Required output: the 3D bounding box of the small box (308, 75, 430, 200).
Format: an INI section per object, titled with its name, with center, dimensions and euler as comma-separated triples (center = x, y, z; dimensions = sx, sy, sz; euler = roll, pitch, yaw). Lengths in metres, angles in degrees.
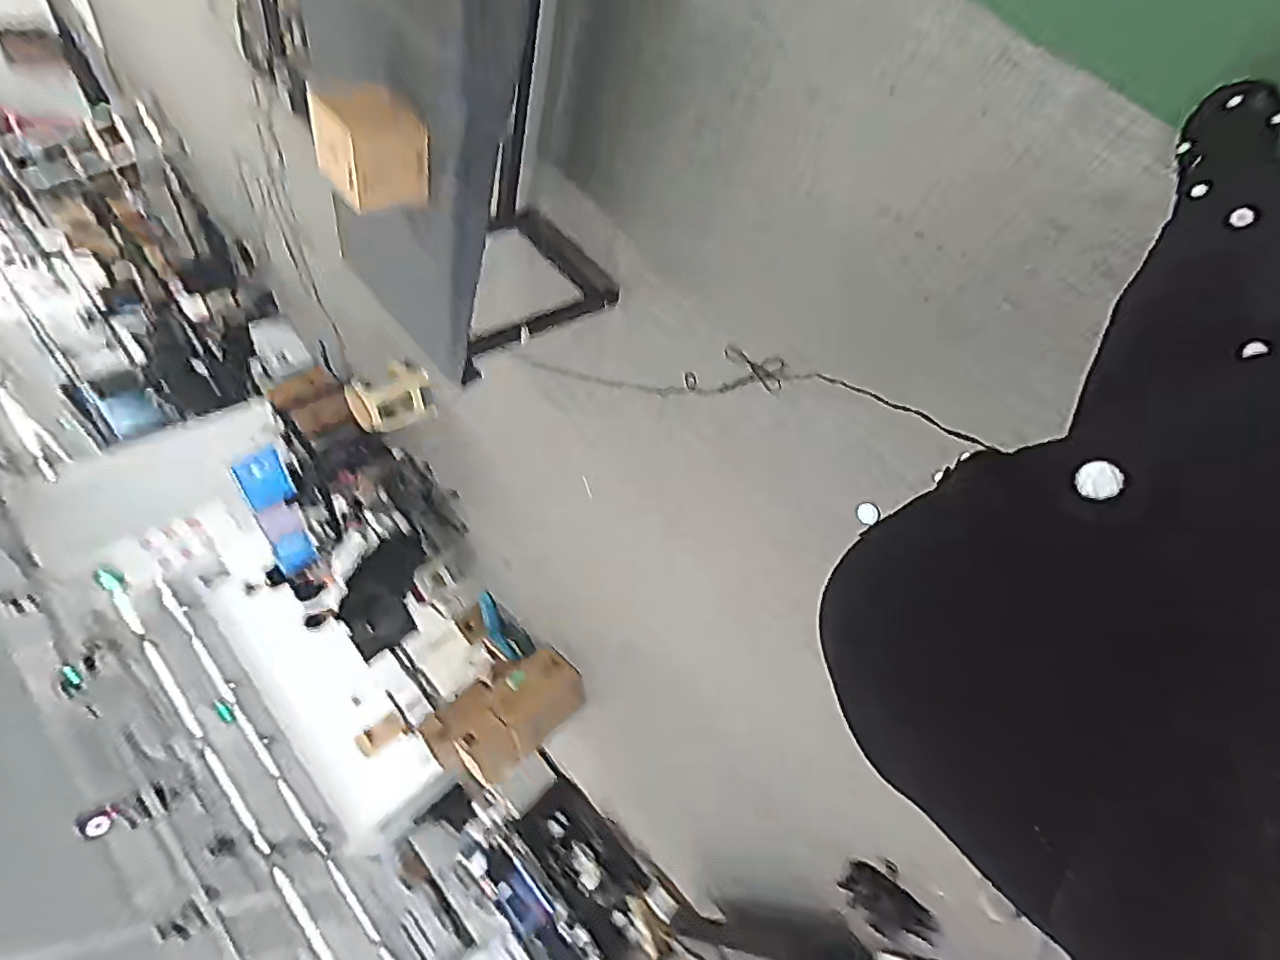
[small box]
center = -0.576, -0.738, 1.167
dimensions = 0.179, 0.176, 0.168
euler = 48, 145, 14
